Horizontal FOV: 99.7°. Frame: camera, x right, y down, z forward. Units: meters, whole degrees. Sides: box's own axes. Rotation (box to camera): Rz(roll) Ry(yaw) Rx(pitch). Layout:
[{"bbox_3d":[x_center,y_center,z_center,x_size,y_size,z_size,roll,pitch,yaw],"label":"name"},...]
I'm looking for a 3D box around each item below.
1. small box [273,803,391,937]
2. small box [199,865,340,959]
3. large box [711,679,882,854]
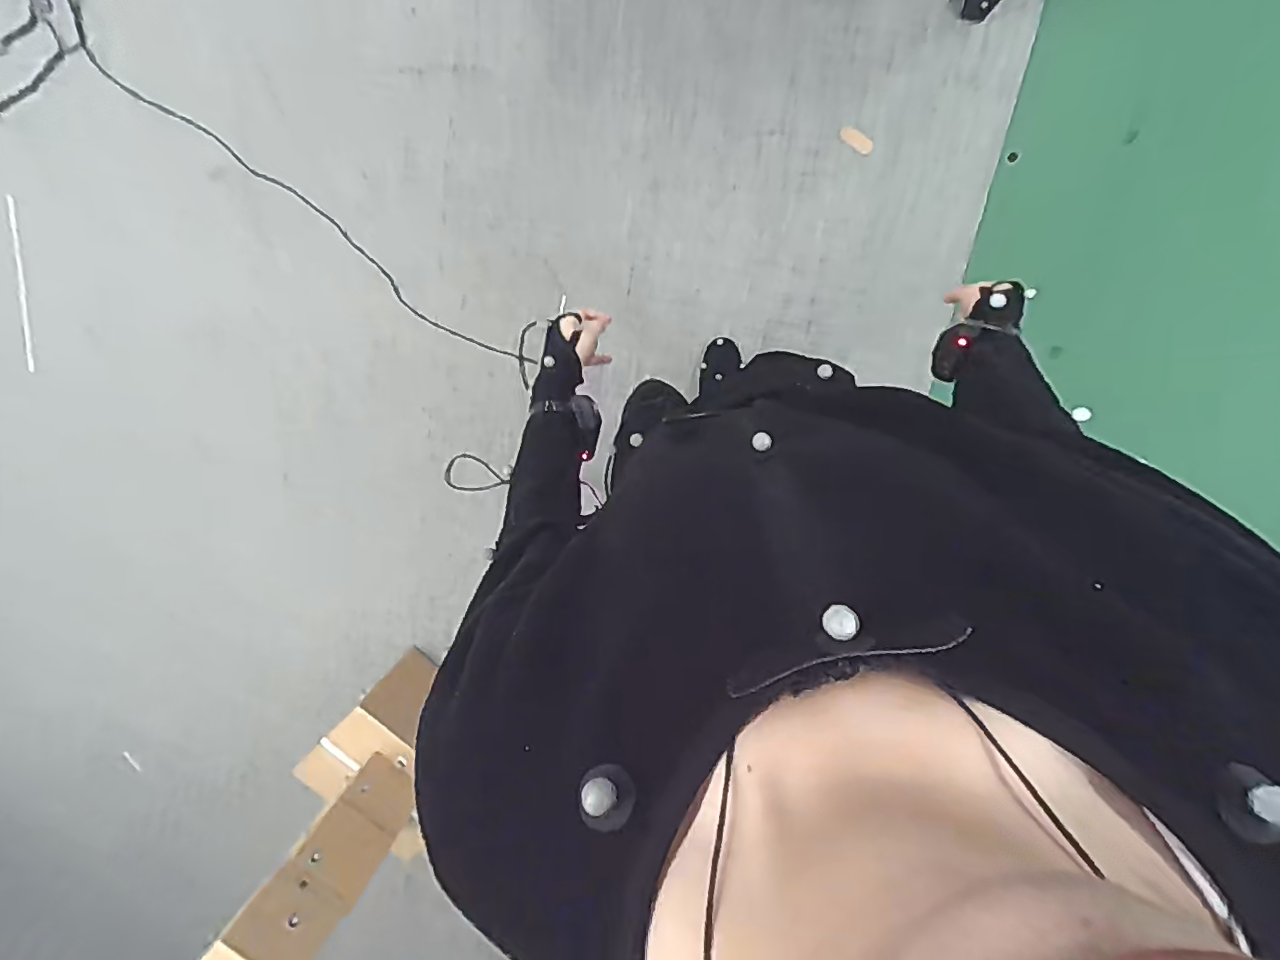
[{"bbox_3d":[-0.698,0.874,1.204,0.179,0.176,0.168,42,102,-4],"label":"small box"},{"bbox_3d":[-0.722,0.902,1.043,0.168,0.176,0.179,42,102,-4],"label":"small box"},{"bbox_3d":[0.419,0.790,1.525,0.408,0.320,0.320,-4,104,4],"label":"large box"}]
